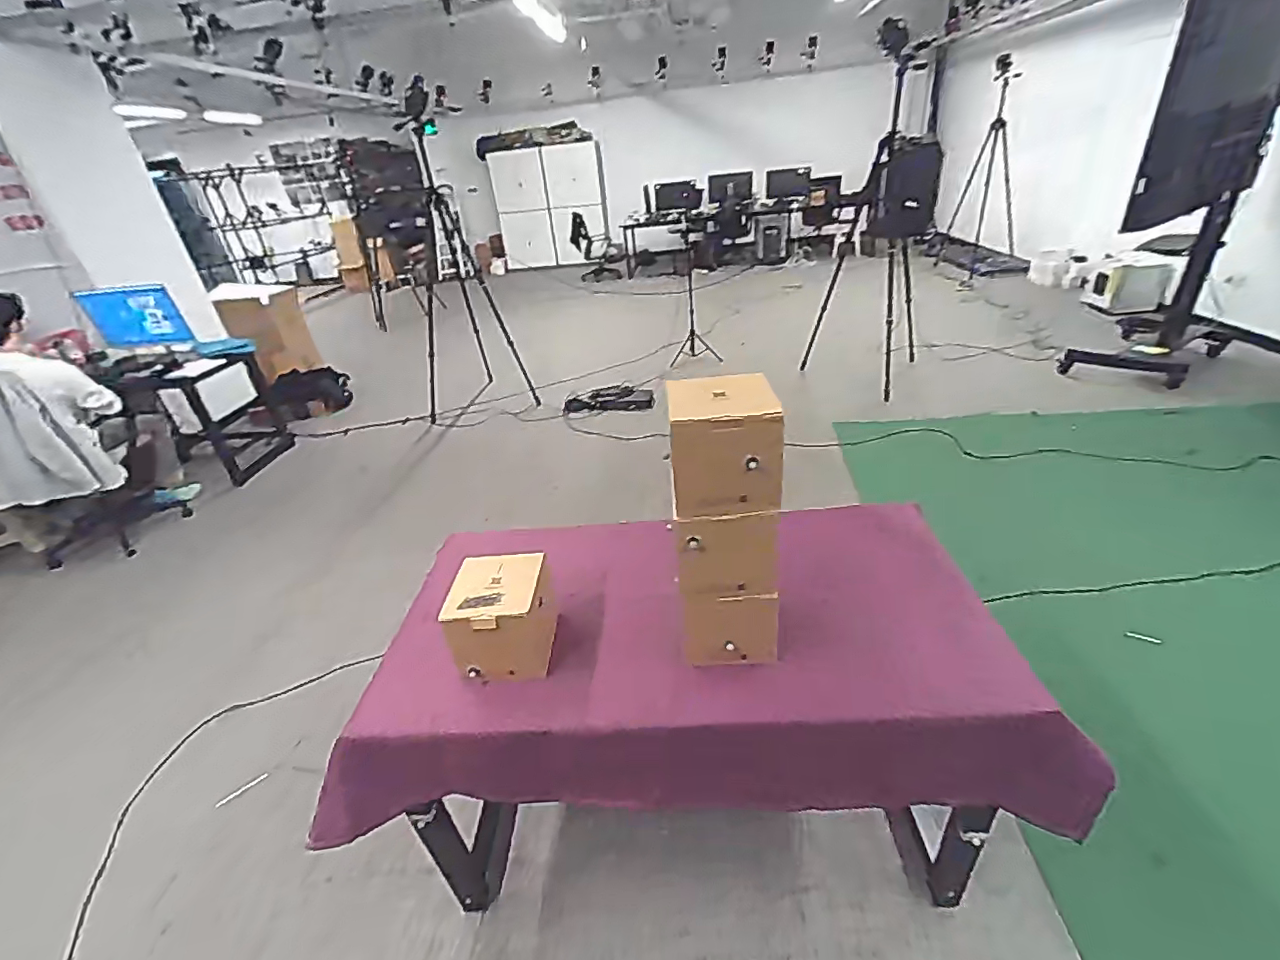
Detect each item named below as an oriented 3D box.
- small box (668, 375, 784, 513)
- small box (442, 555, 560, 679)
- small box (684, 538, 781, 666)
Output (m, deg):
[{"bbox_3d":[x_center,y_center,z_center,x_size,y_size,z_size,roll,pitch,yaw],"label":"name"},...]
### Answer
[{"bbox_3d":[0.135,-0.056,0.874,0.168,0.176,0.179,-4,29,4],"label":"small box"},{"bbox_3d":[-0.259,0.271,1.056,0.168,0.176,0.179,-5,29,4],"label":"small box"},{"bbox_3d":[0.172,0.230,1.032,0.168,0.176,0.179,-4,31,7],"label":"small box"}]
